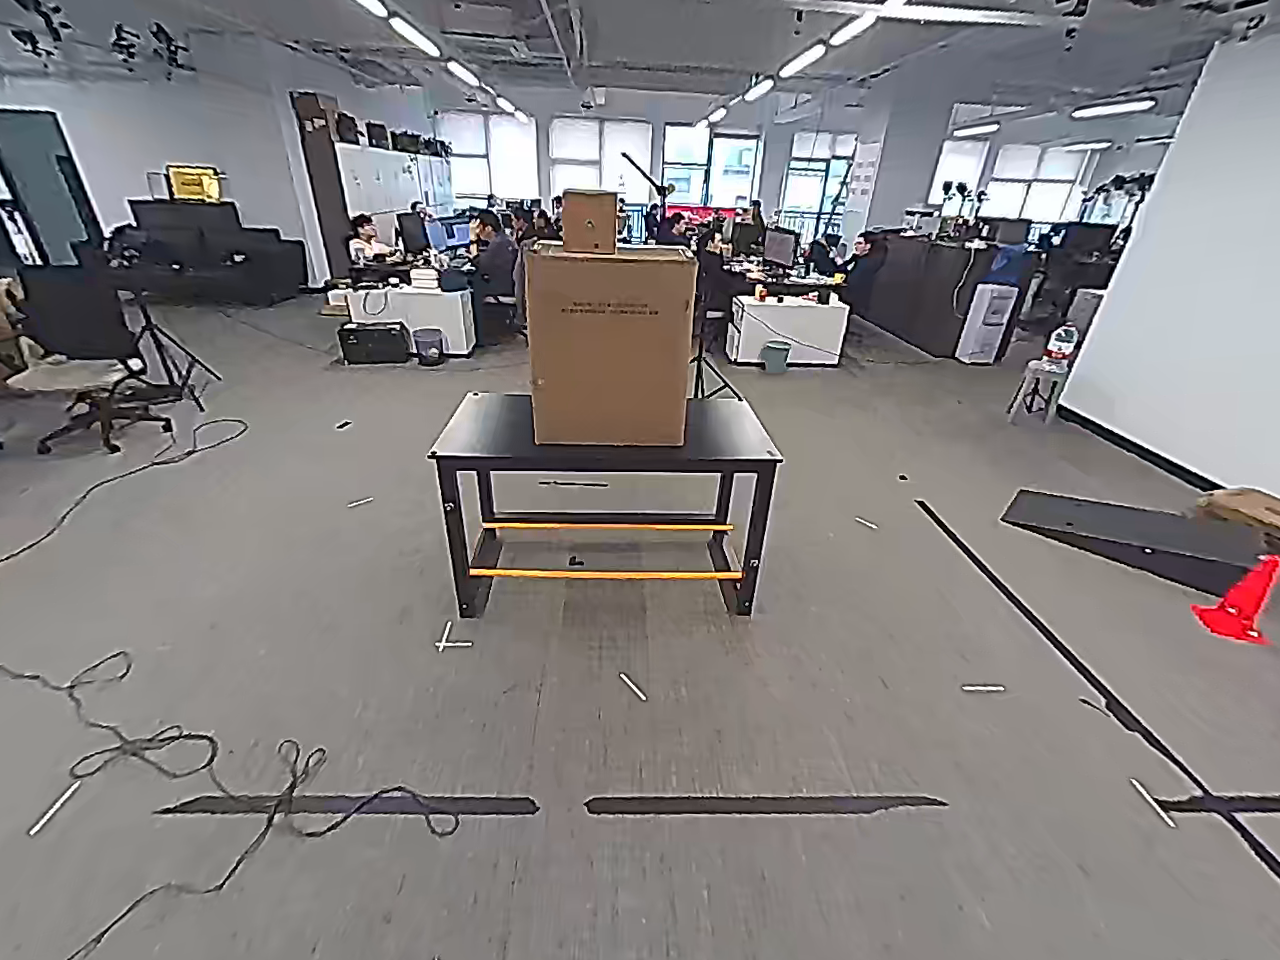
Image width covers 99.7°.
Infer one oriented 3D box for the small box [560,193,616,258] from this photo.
[{"bbox_3d":[-0.159,-0.806,1.711,0.168,0.176,0.179,2,31,-3],"label":"small box"}]
